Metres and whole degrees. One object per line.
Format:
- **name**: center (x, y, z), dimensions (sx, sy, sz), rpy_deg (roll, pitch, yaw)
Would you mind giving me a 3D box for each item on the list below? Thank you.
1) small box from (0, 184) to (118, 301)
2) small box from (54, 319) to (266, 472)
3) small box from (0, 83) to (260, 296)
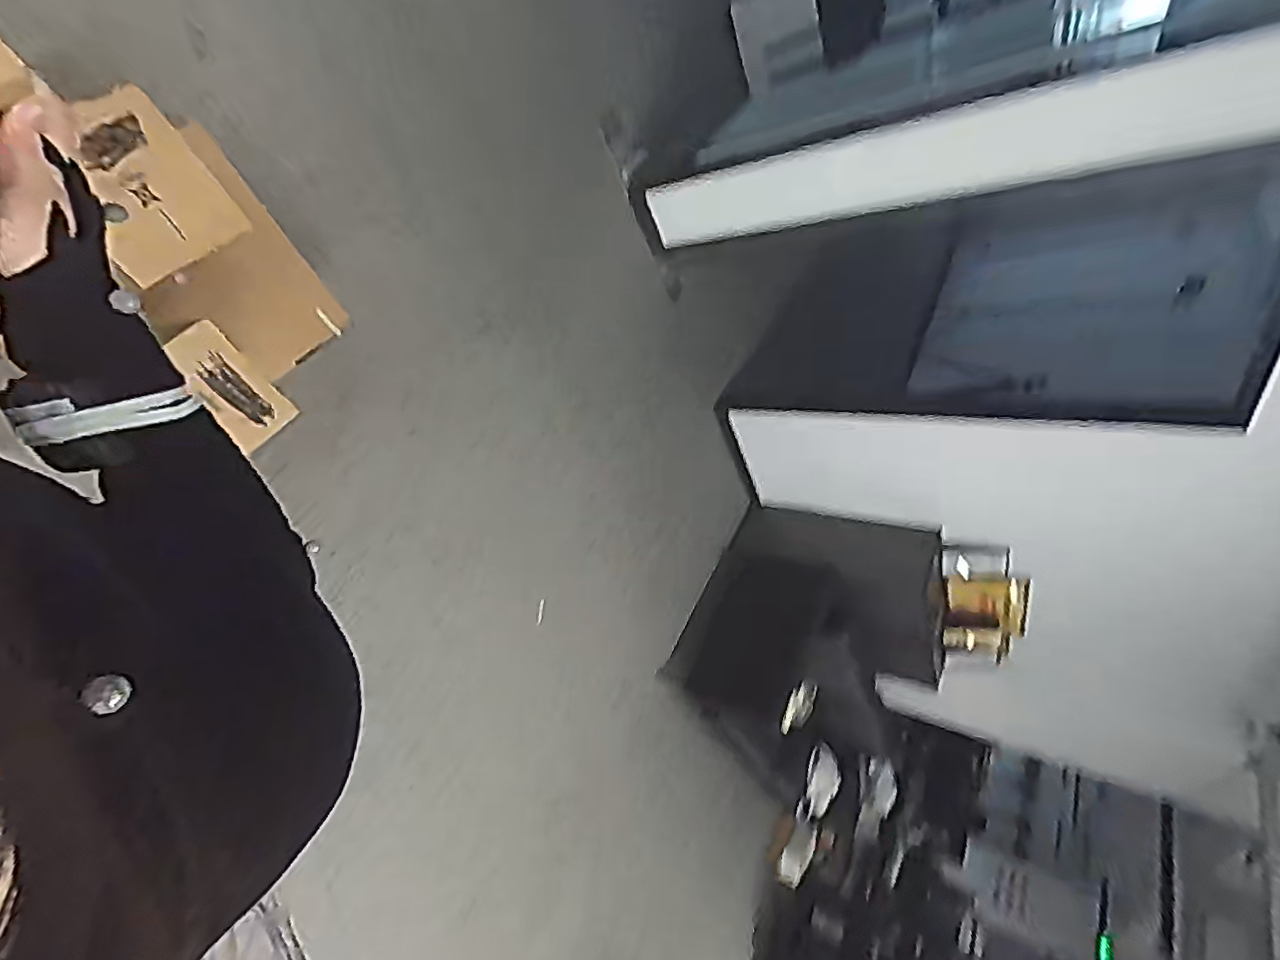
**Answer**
- **small box**: center (-0.790, -0.385, 0.796), dimensions (0.179, 0.176, 0.168), rpy_deg (-57, 136, -32)
- **small box**: center (-0.767, -0.137, 0.871), dimensions (0.168, 0.176, 0.179), rpy_deg (-58, 137, -30)
- **small box**: center (-0.657, -0.363, 0.700), dimensions (0.168, 0.176, 0.179), rpy_deg (-57, 135, -31)
